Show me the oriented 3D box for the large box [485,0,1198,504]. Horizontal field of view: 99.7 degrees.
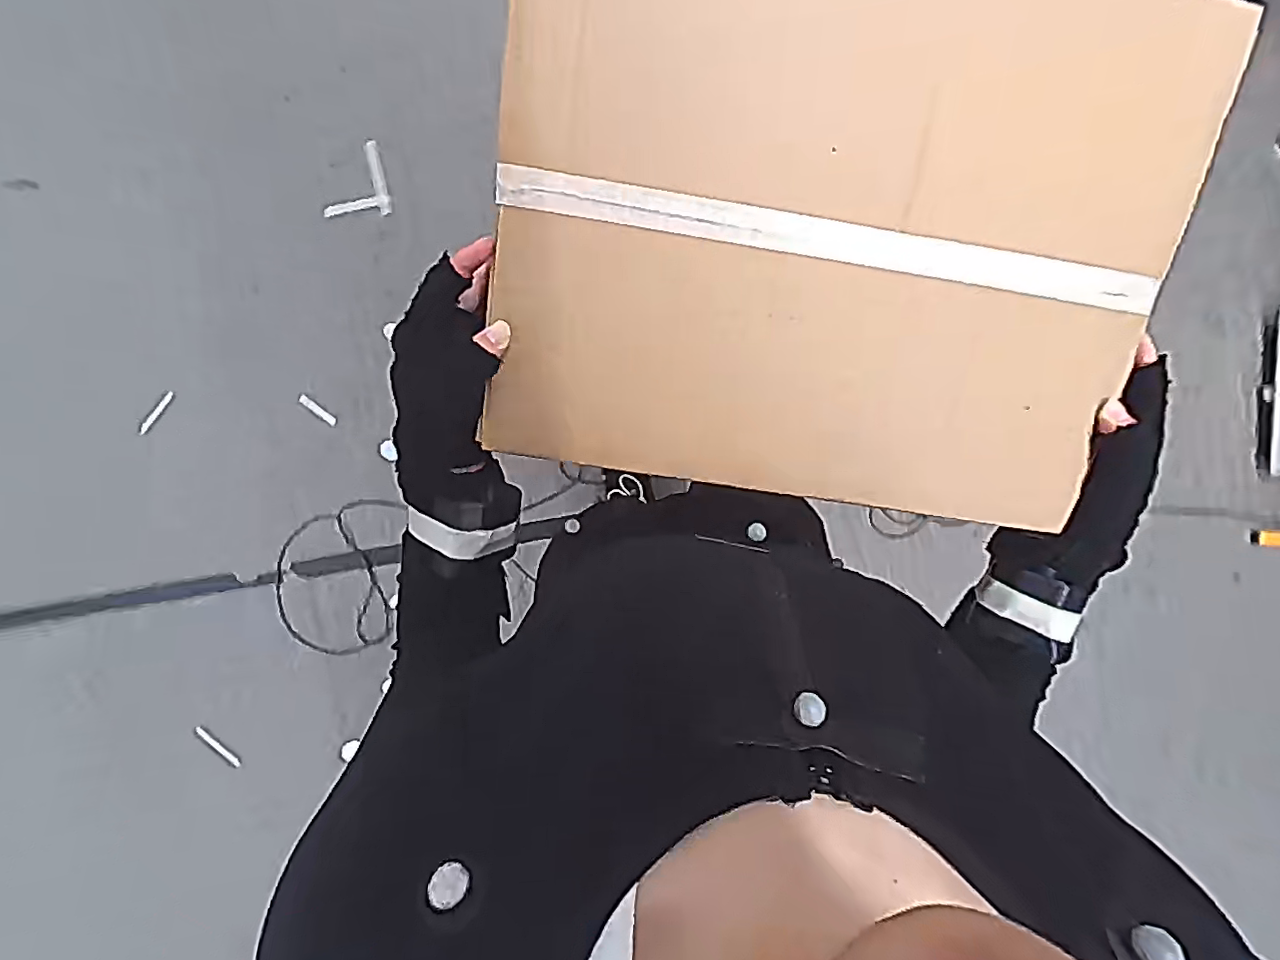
[{"bbox_3d":[0.101,-0.187,0.479,0.408,0.320,0.320,7,106,-4],"label":"large box"}]
